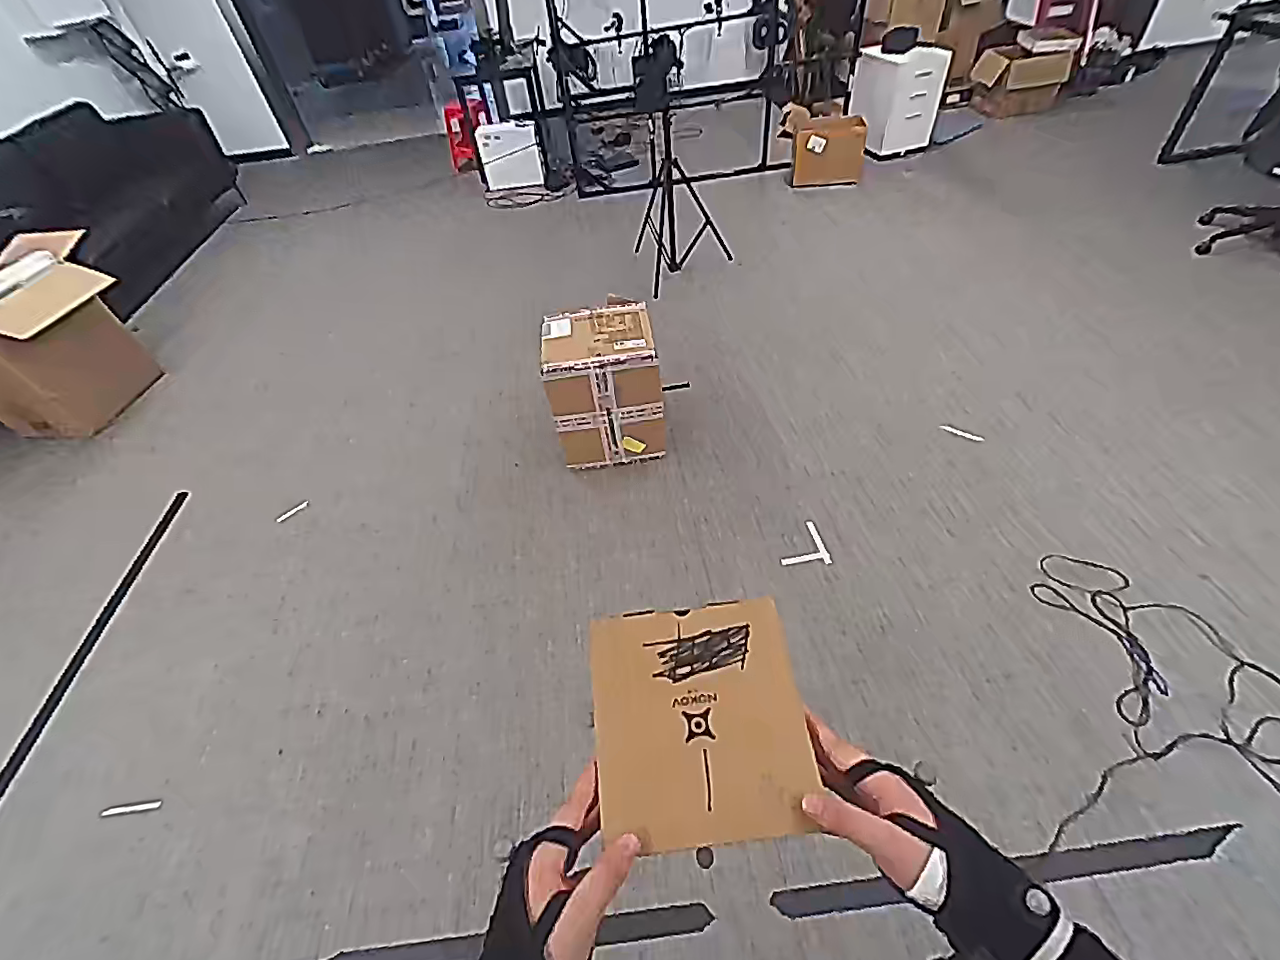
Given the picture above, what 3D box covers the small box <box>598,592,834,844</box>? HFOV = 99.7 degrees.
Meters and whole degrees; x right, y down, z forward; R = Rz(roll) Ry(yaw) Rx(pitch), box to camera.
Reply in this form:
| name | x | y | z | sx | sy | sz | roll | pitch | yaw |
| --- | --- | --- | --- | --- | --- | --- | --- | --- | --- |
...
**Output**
| name | x | y | z | sx | sy | sz | roll | pitch | yaw |
| --- | --- | --- | --- | --- | --- | --- | --- | --- | --- |
| small box | 0.054 | 0.224 | 0.499 | 0.168 | 0.176 | 0.179 | -7 | 57 | -1 |
